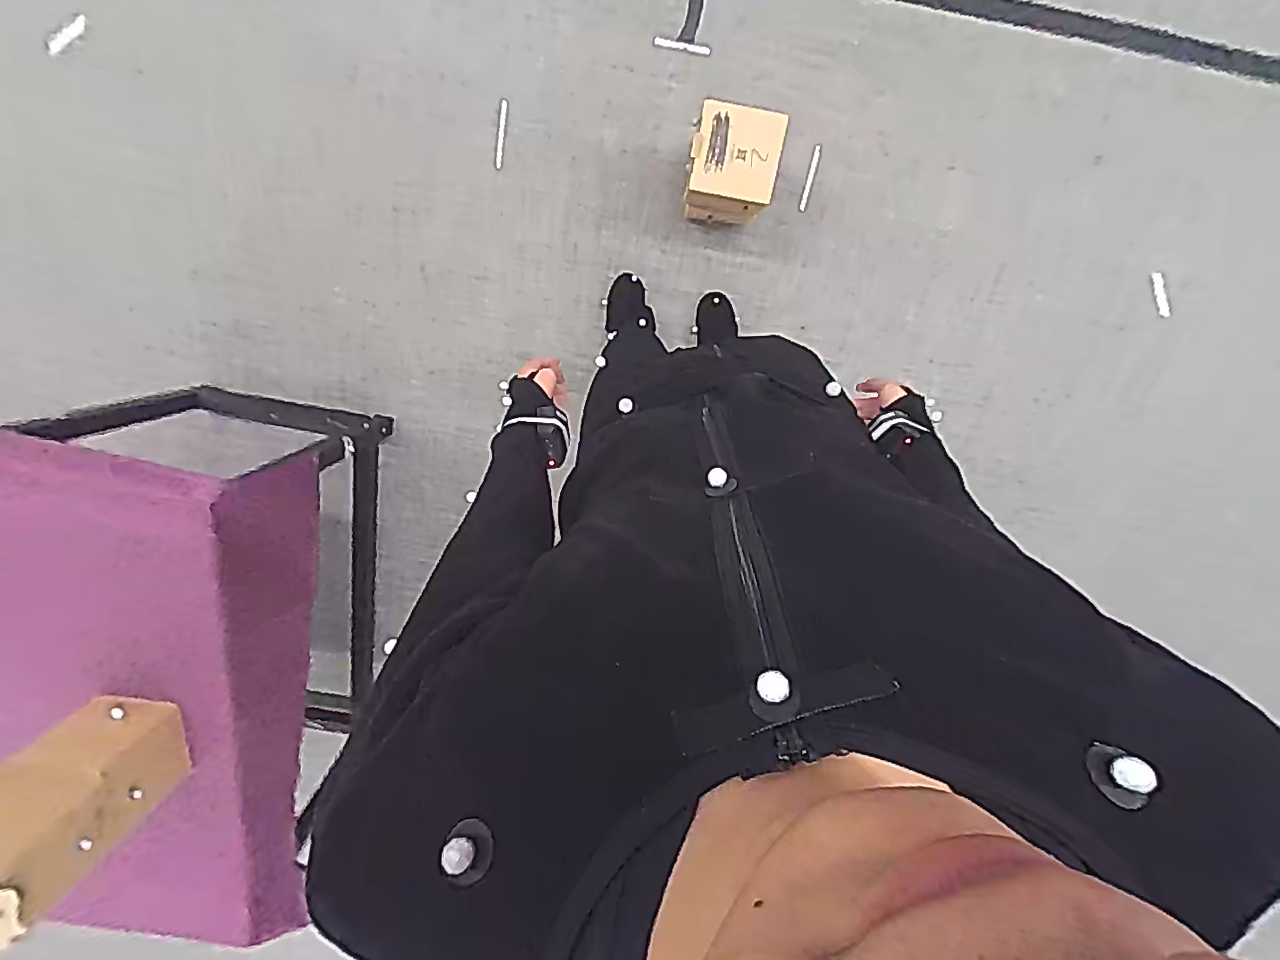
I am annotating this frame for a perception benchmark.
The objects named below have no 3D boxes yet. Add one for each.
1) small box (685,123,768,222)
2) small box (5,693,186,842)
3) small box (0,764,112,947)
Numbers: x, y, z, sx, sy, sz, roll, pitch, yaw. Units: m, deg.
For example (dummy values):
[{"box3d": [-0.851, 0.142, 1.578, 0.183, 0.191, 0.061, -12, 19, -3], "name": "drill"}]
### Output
[{"box3d": [0.203, -0.743, 1.323, 0.168, 0.176, 0.179, 7, 109, -1], "name": "small box"}, {"box3d": [-1.016, 0.541, 1.030, 0.168, 0.176, 0.179, 6, 109, -1], "name": "small box"}, {"box3d": [-1.025, 0.596, 0.875, 0.179, 0.176, 0.168, 12, 110, -3], "name": "small box"}]
